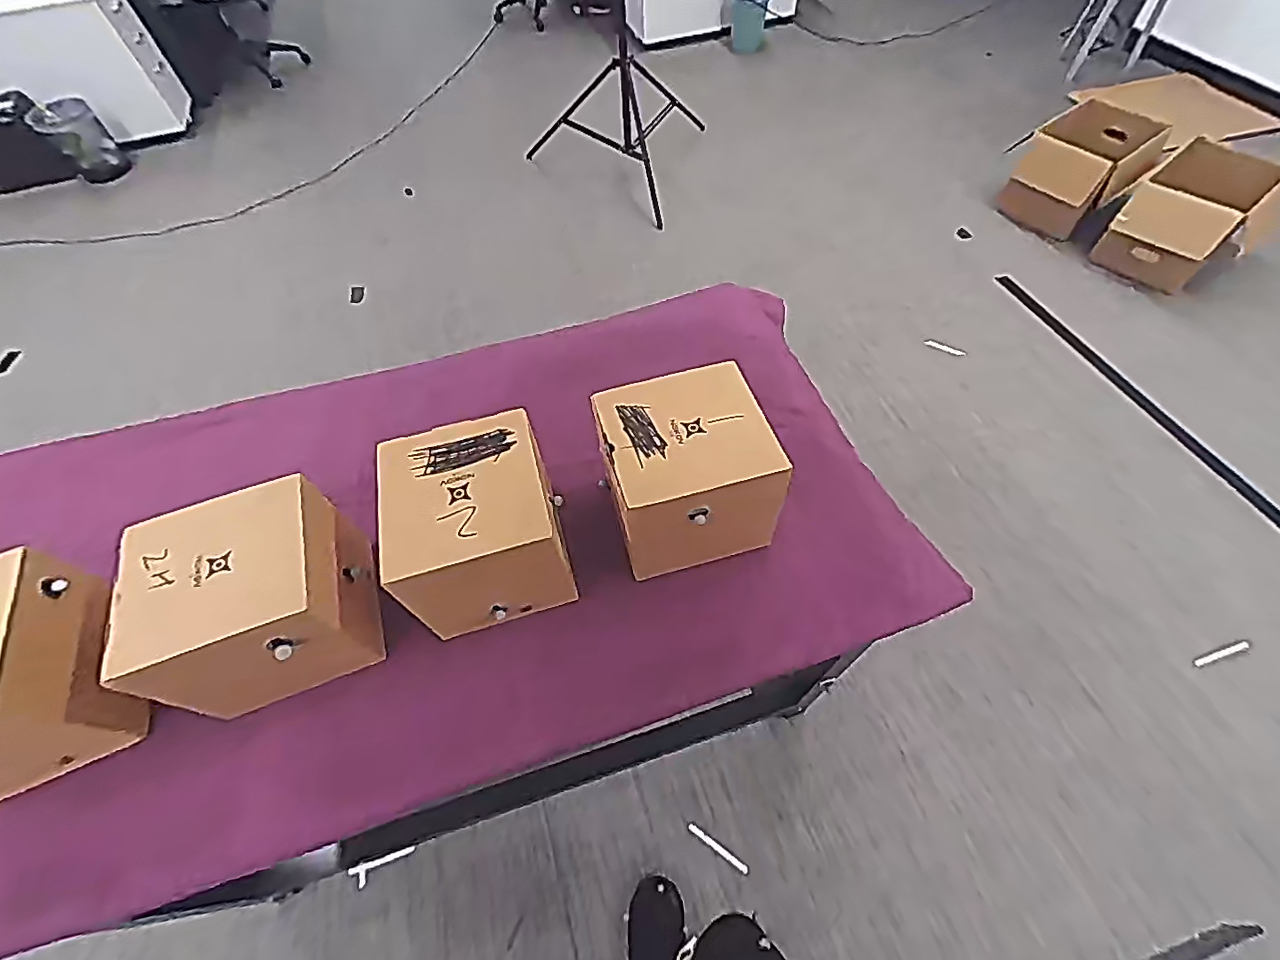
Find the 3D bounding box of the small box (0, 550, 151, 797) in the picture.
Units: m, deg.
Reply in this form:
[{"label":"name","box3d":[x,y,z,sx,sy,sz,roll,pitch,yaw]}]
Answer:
[{"label":"small box","box3d":[-0.647,0.206,0.552,0.168,0.176,0.179,-22,58,-11]}]

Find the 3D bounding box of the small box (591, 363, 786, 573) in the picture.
[{"label":"small box","box3d":[0.052,-0.008,0.649,0.179,0.176,0.168,-14,56,-7]}]

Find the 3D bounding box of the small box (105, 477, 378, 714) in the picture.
[{"label":"small box","box3d":[-0.404,0.129,0.586,0.179,0.176,0.168,-20,57,-10]}]
